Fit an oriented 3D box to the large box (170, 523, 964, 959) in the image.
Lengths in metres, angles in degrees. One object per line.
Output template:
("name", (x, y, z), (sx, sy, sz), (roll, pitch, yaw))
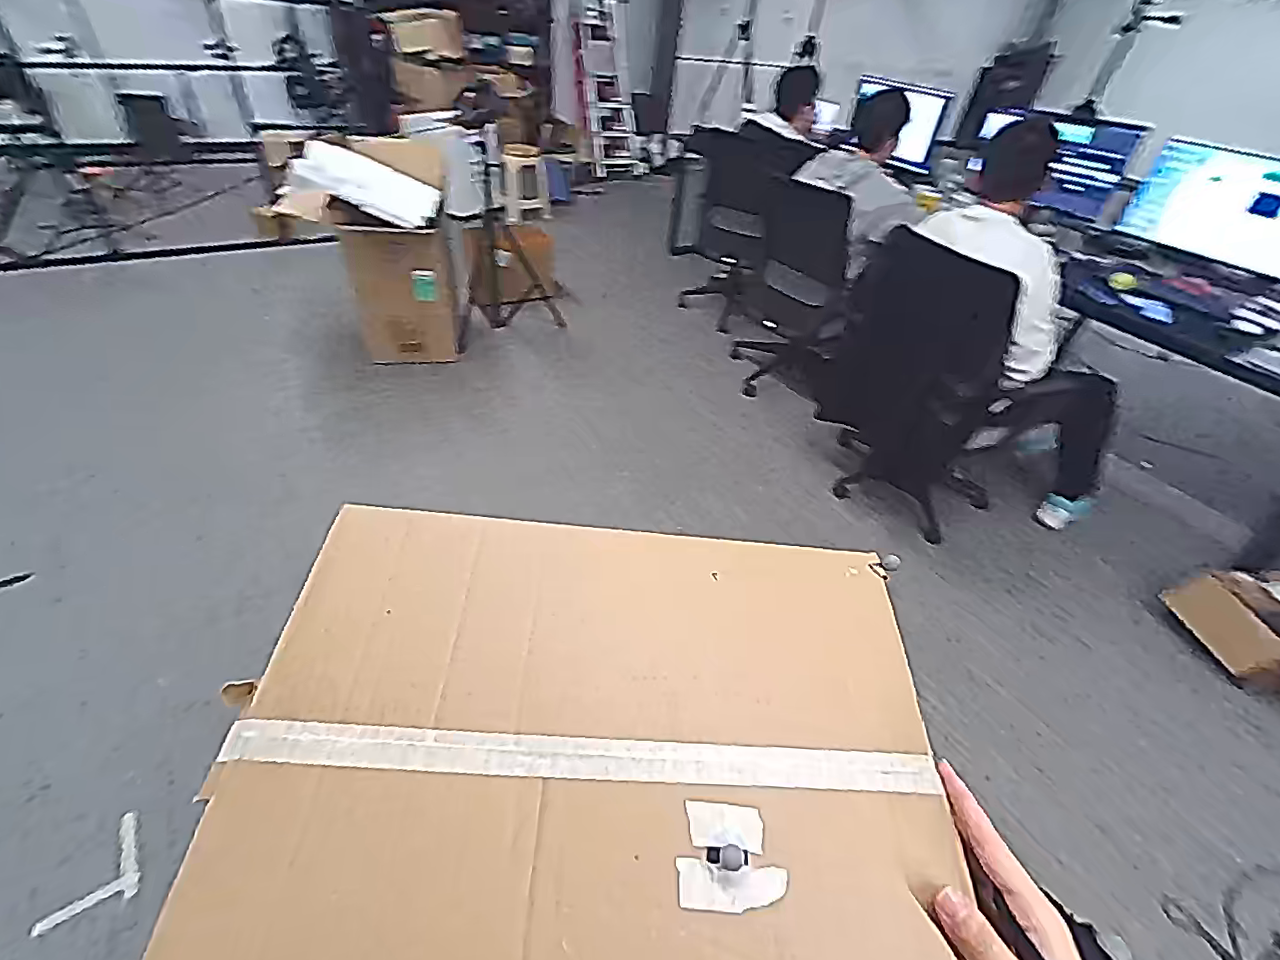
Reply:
("large box", (-0.044, 0.258, 0.441), (0.408, 0.320, 0.320), (6, 53, -6))
